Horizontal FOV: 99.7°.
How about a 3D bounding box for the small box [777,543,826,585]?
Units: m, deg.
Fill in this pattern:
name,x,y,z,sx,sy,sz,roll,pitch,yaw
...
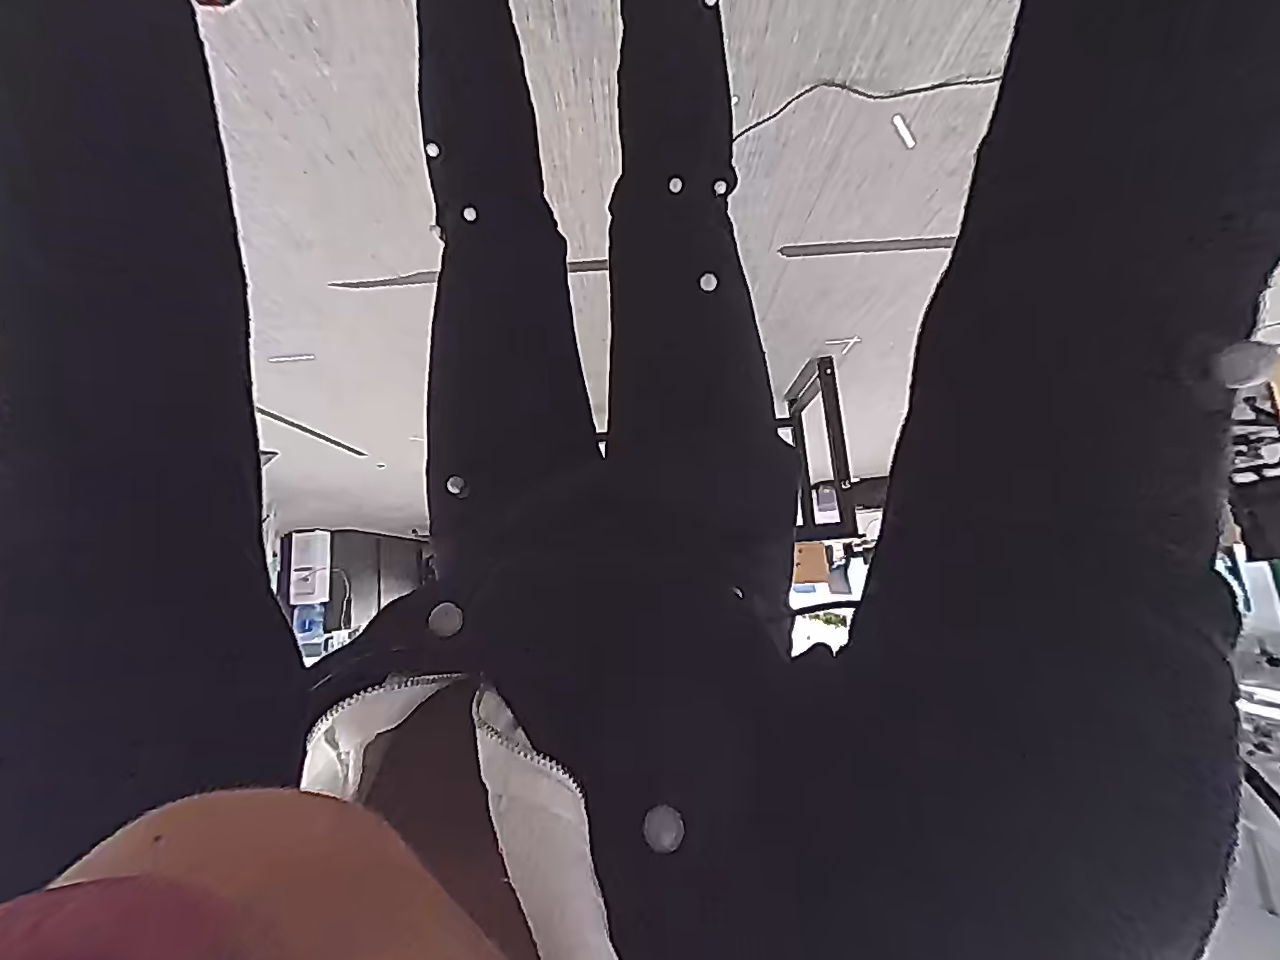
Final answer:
name,x,y,z,sx,sy,sz,roll,pitch,yaw
small box,0.692,0.364,2.337,0.168,0.176,0.179,-4,171,4
